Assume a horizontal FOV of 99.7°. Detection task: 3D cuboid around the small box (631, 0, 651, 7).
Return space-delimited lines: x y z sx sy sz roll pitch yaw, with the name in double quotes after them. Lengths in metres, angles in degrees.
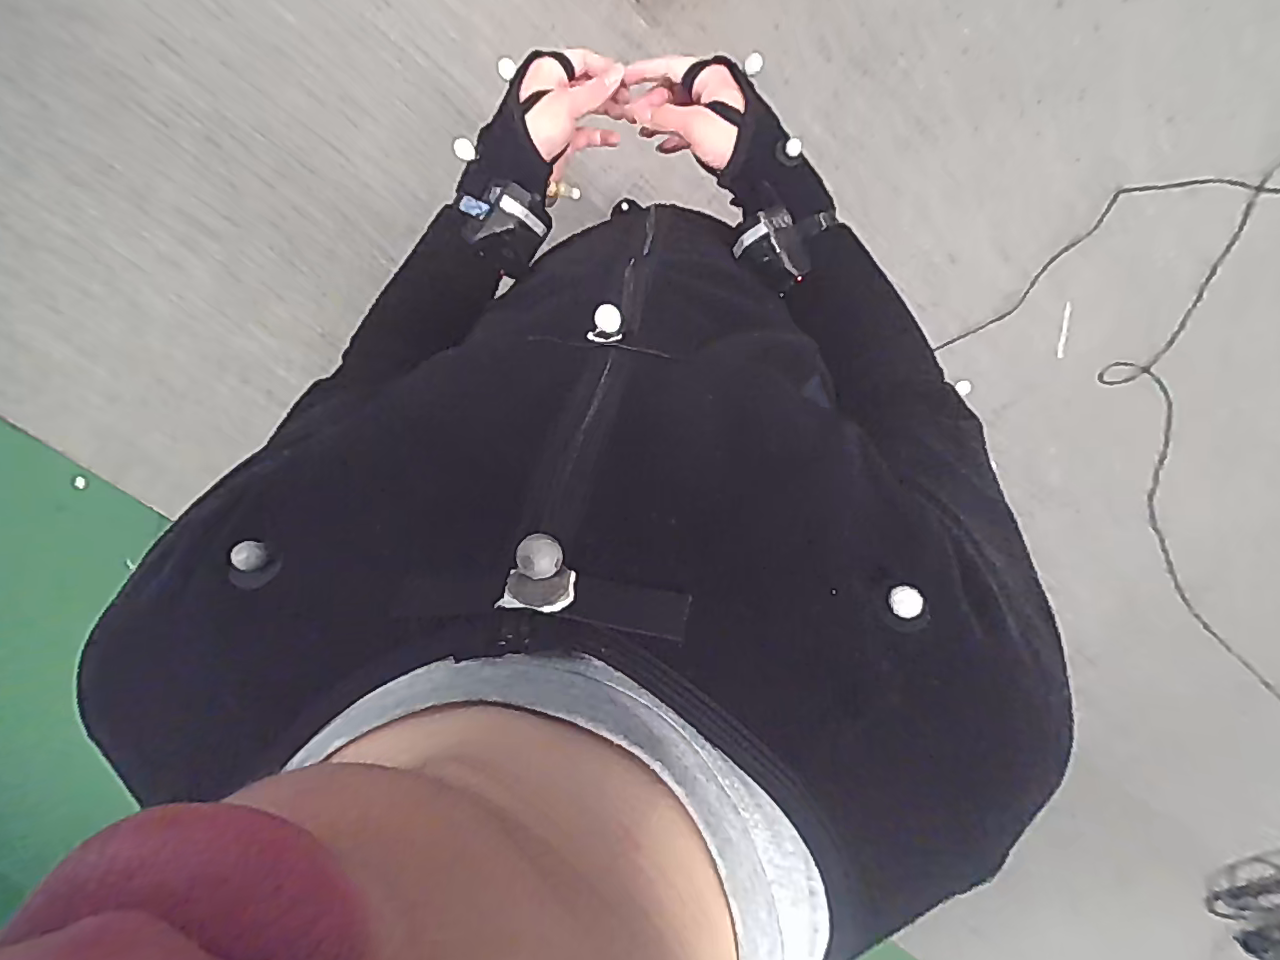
-0.003 -1.088 1.054 0.168 0.176 0.179 -37 109 22 "small box"
